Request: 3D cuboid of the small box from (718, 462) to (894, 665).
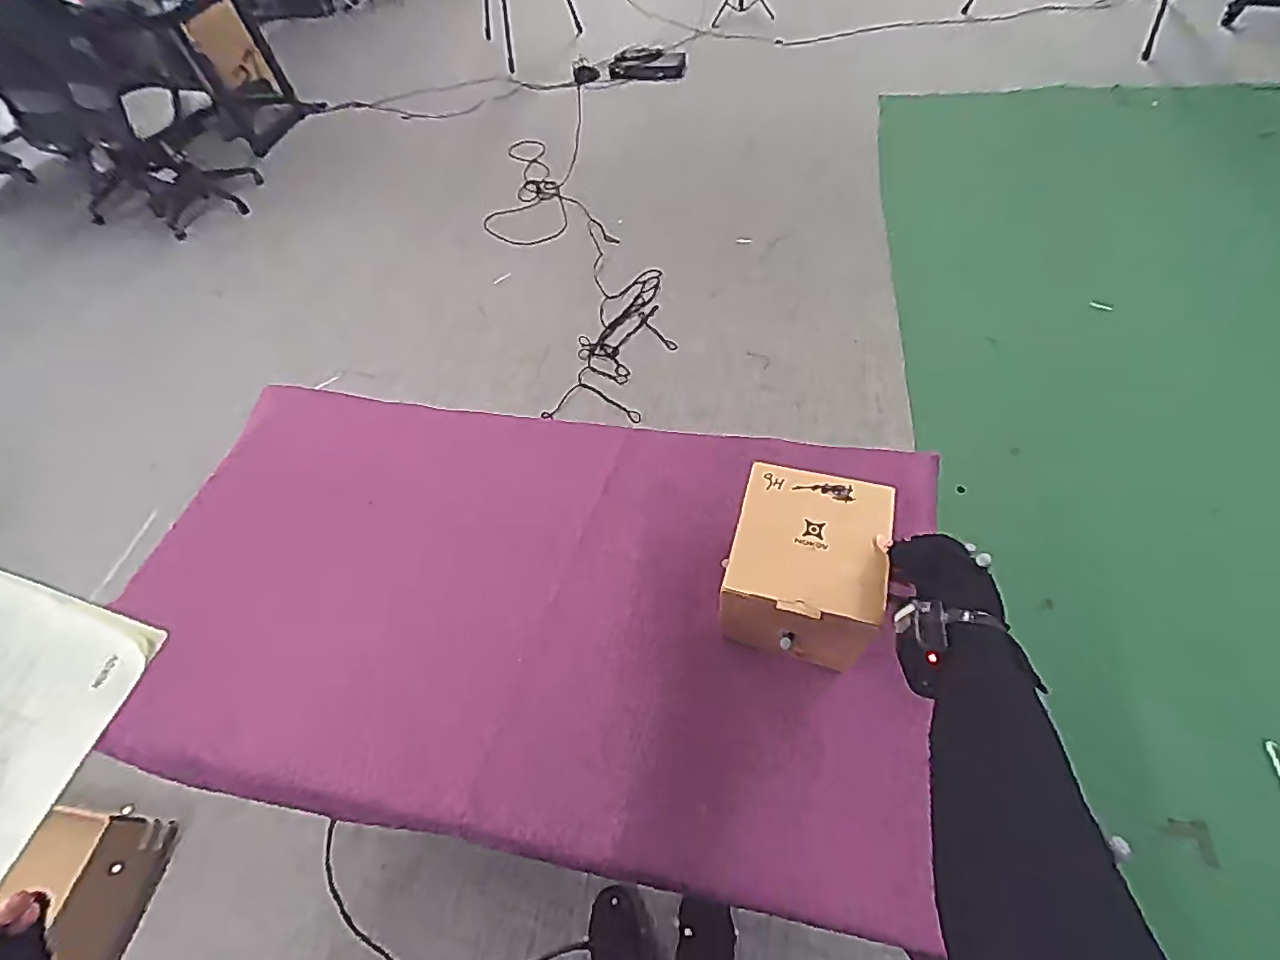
[{"bbox_3d":[0.197,0.107,0.666,0.168,0.176,0.179,12,59,15],"label":"small box"}]
